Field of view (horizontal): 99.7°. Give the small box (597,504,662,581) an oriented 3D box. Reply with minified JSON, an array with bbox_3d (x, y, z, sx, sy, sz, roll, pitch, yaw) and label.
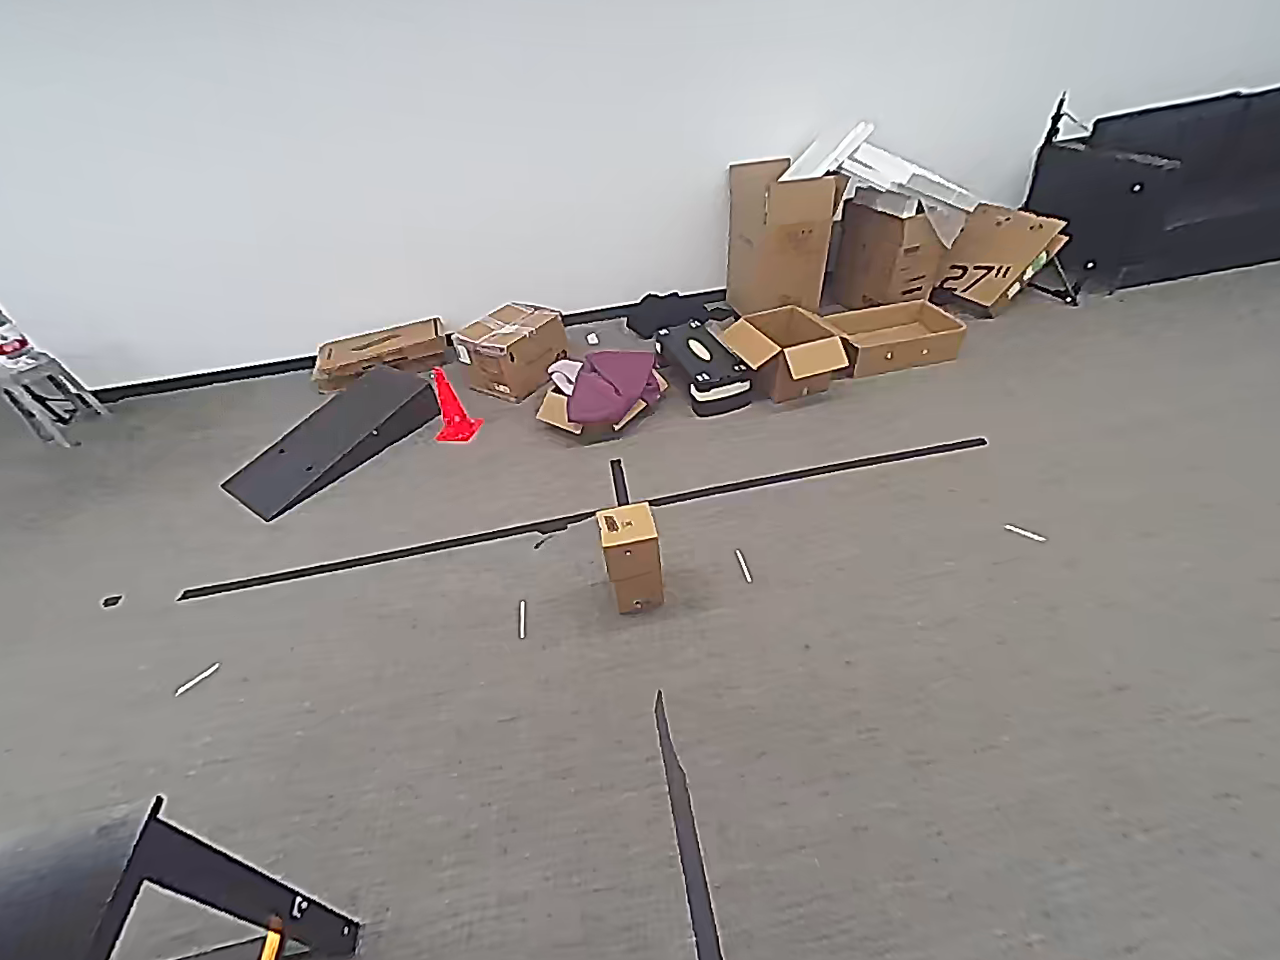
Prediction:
[{"bbox_3d":[-0.034,0.205,1.749,0.179,0.176,0.168,-11,40,-4],"label":"small box"}]

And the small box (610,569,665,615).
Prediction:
[{"bbox_3d":[-0.017,0.331,1.854,0.168,0.176,0.179,-14,42,-7],"label":"small box"}]
